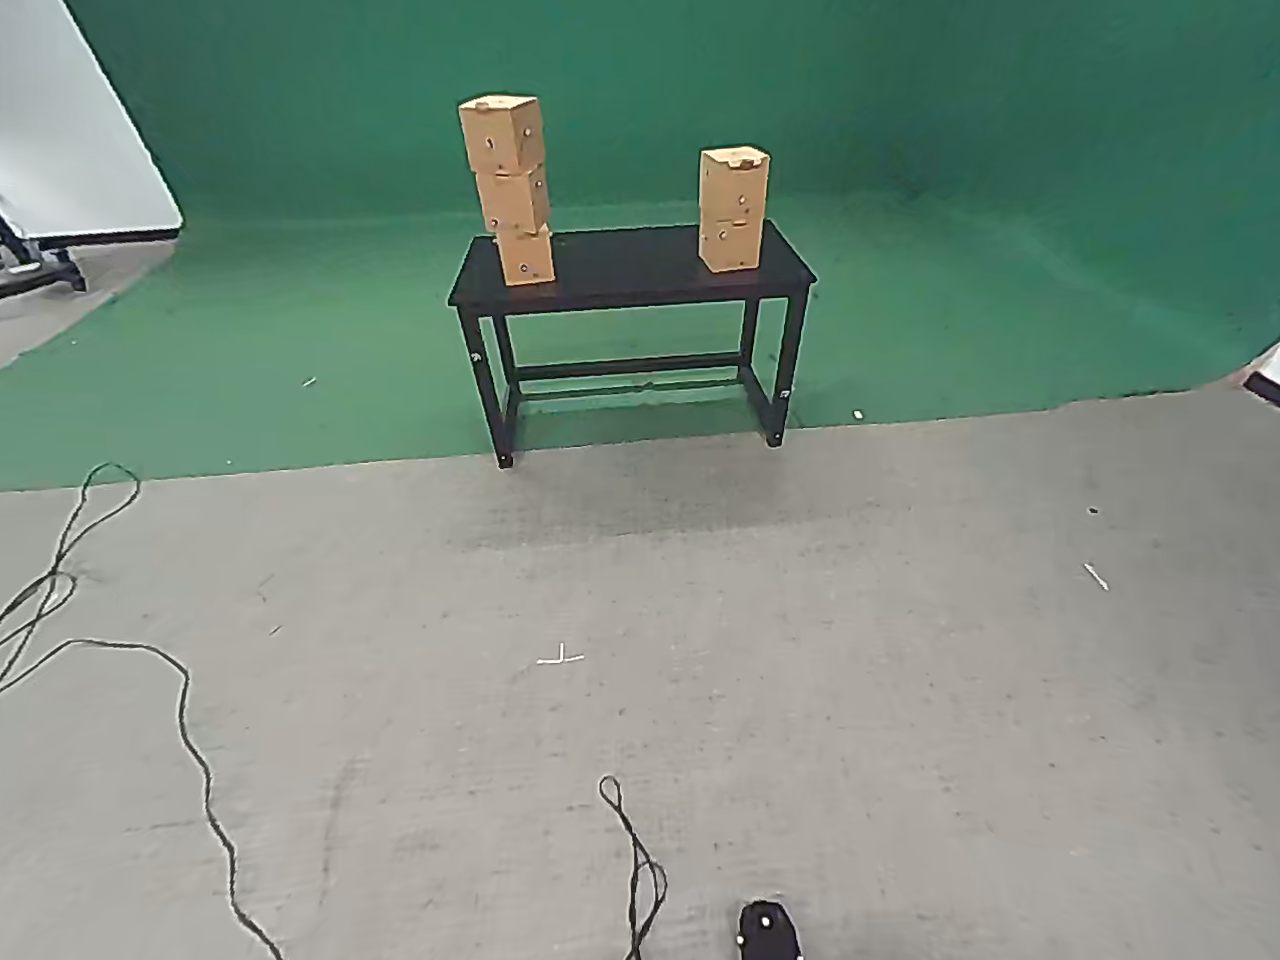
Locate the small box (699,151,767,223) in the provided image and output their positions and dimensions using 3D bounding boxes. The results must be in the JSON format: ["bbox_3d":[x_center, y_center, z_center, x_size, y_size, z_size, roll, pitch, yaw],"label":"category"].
[{"bbox_3d":[0.293,-0.947,1.749,0.168,0.176,0.179,-10,43,-8],"label":"small box"}]

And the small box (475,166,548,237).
[{"bbox_3d":[-0.400,-0.888,1.719,0.168,0.176,0.179,5,43,6],"label":"small box"}]

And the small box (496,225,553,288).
[{"bbox_3d":[-0.392,-0.767,1.831,0.168,0.176,0.179,-10,44,-9],"label":"small box"}]

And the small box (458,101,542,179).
[{"bbox_3d":[-0.407,-1.013,1.613,0.168,0.176,0.179,13,46,14],"label":"small box"}]
